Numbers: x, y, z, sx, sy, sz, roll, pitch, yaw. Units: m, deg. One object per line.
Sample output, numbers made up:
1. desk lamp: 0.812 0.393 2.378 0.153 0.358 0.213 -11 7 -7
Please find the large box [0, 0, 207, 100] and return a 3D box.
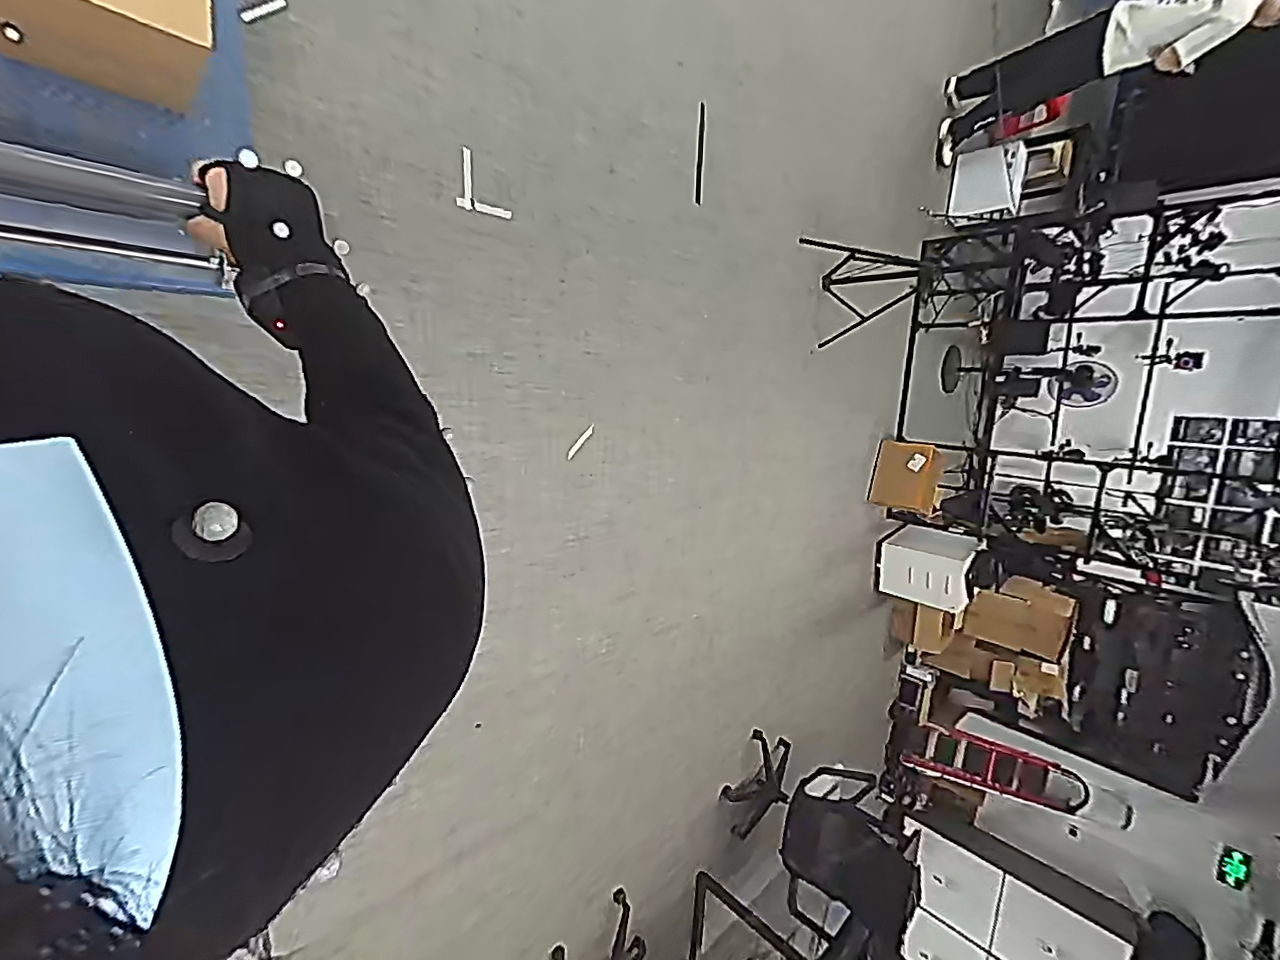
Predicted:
1. large box: -0.850 -0.786 0.709 0.408 0.320 0.320 -5 102 -44
